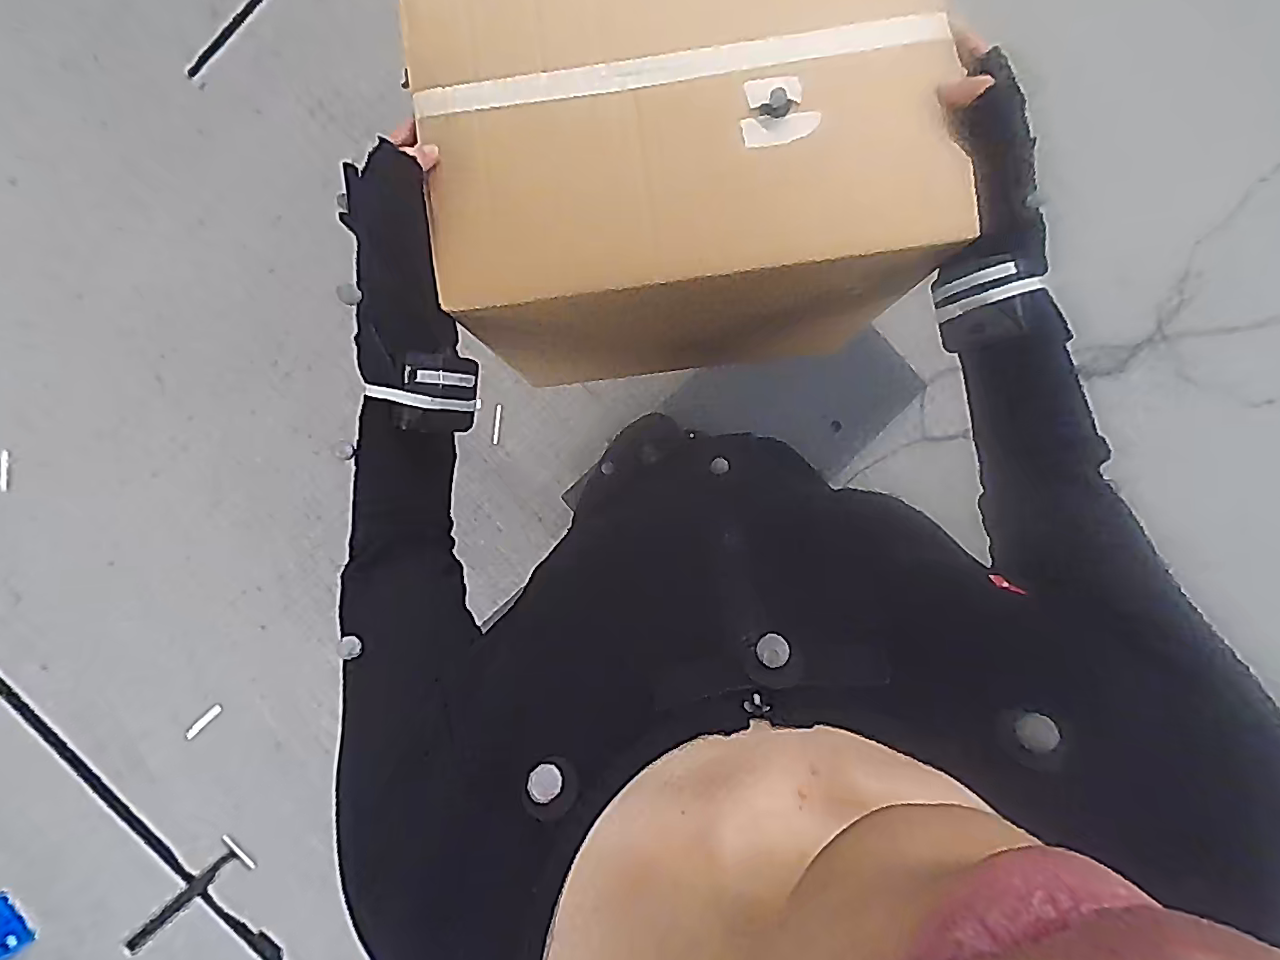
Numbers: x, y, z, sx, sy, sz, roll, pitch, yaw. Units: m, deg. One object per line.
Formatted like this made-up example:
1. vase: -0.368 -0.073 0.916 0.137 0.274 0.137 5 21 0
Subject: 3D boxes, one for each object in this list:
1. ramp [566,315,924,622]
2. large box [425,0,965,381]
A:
1. ramp: 0.312 -0.119 1.535 0.509 0.206 0.991 45 94 1
2. large box: 0.038 -0.311 0.573 0.408 0.320 0.320 -7 89 1
